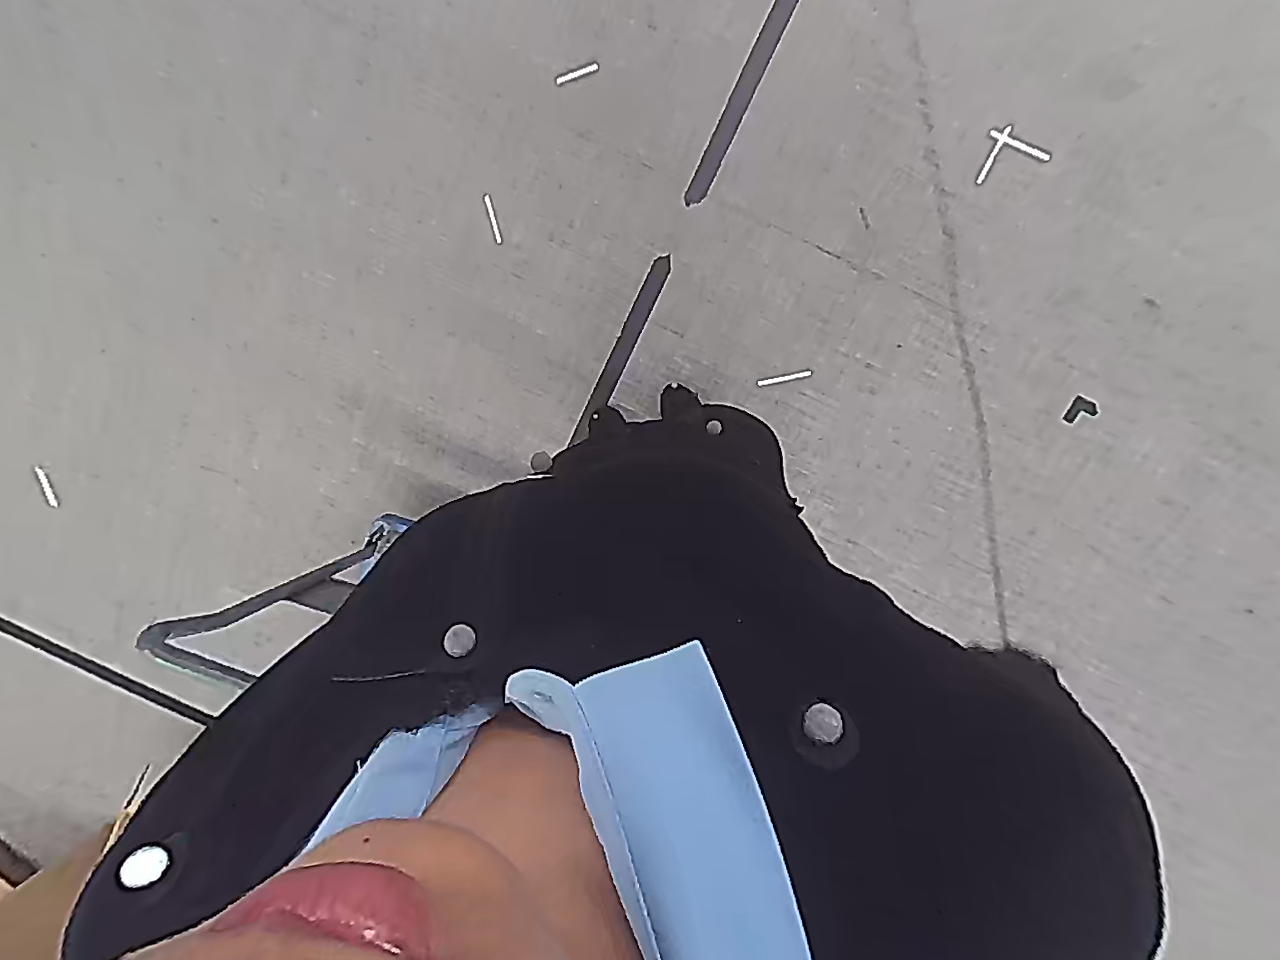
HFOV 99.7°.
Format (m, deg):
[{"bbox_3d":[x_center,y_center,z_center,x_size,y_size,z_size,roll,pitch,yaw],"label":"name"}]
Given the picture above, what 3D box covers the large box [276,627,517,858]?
[{"bbox_3d":[-0.569,0.614,1.323,0.408,0.320,0.320,20,102,-1],"label":"large box"}]
